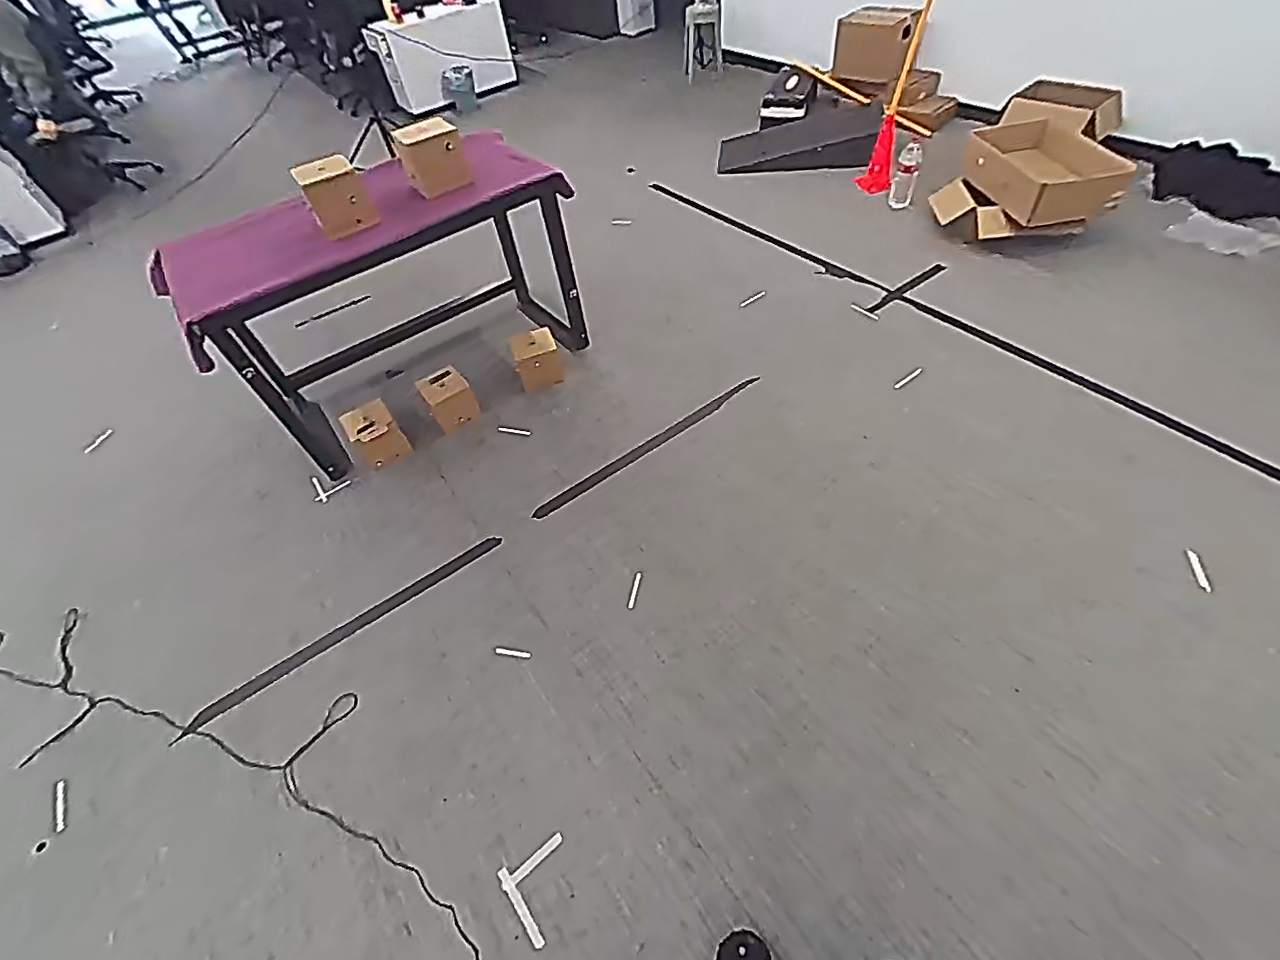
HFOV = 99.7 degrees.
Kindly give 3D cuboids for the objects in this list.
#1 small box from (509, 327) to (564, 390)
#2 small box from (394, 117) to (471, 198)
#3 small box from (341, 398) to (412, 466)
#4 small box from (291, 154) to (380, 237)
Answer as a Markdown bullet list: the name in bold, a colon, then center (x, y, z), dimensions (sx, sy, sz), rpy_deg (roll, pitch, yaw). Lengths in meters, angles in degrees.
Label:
- **small box**: center (-0.428, -0.507, 2.264), dimensions (0.179, 0.176, 0.168), rpy_deg (-20, 53, -7)
- **small box**: center (-0.688, -1.084, 1.818), dimensions (0.179, 0.176, 0.168), rpy_deg (-32, 54, -17)
- **small box**: center (-1.005, -0.177, 2.072), dimensions (0.168, 0.176, 0.179), rpy_deg (-32, 54, -18)
- **small box**: center (-0.949, -0.887, 1.696), dimensions (0.168, 0.176, 0.179), rpy_deg (-31, 52, -18)
